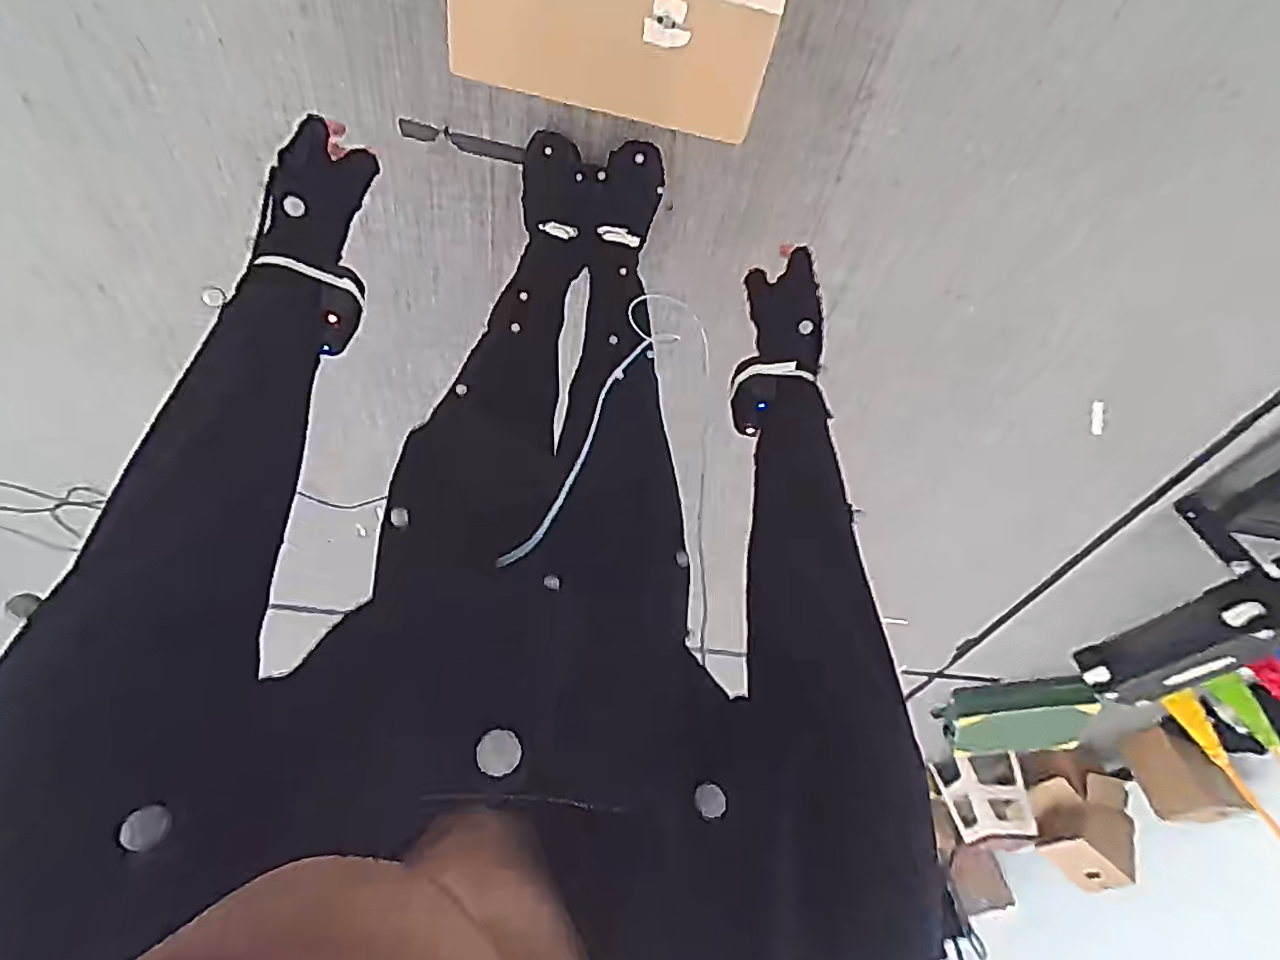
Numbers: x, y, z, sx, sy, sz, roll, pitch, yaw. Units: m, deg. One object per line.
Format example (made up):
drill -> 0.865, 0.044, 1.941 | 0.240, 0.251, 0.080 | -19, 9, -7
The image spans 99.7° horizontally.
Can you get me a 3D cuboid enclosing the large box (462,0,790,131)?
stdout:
large box -> -0.009, -0.726, 0.730 | 0.408, 0.320, 0.320 | 8, 136, -9
